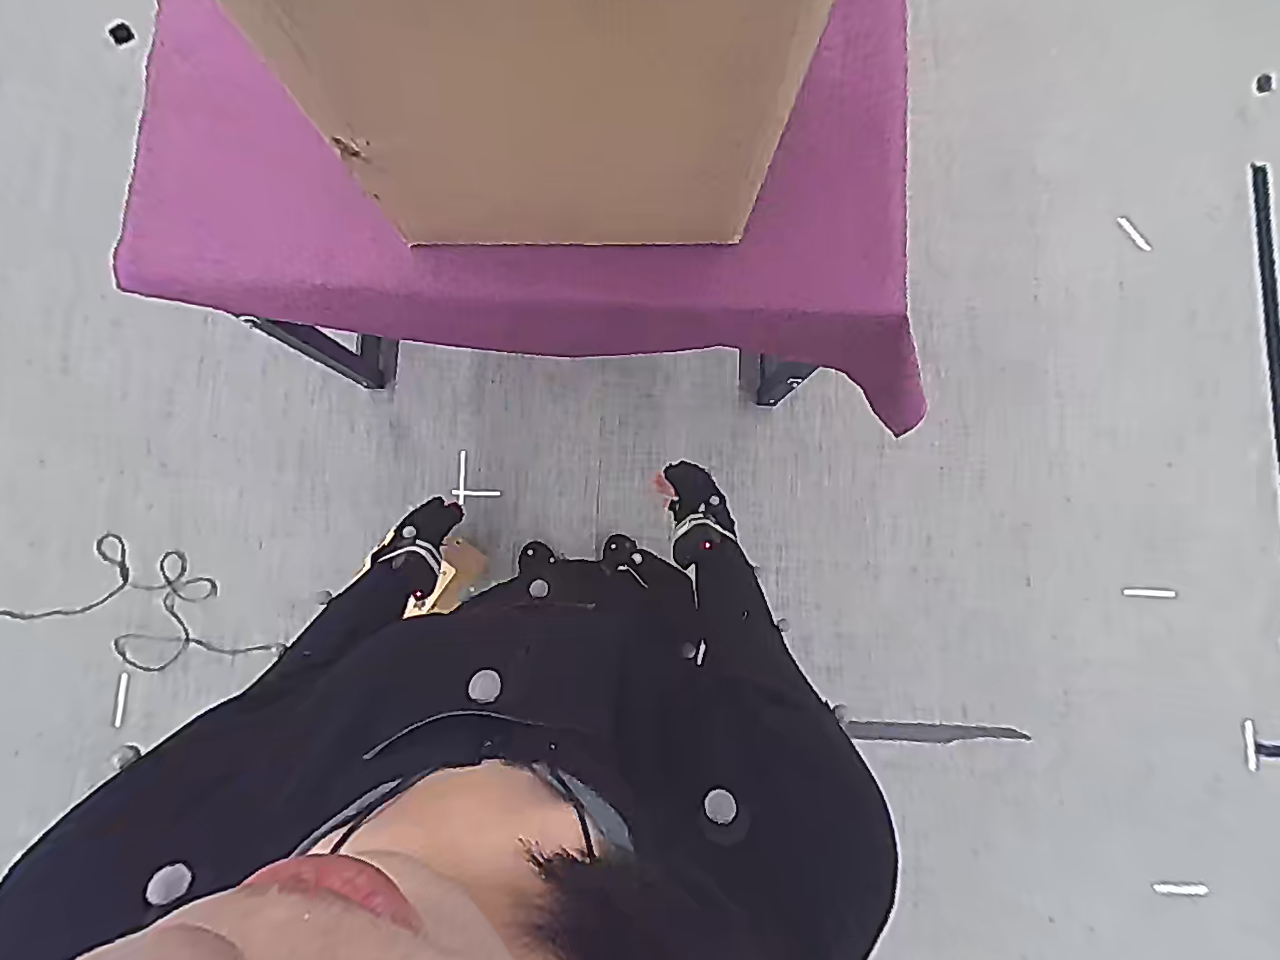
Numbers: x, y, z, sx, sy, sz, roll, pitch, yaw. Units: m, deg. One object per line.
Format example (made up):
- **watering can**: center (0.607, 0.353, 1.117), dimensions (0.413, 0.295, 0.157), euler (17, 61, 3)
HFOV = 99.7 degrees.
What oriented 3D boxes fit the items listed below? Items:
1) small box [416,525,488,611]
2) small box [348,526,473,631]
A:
- **small box**: center (-0.531, 0.236, 1.420), dimensions (0.179, 0.176, 0.168), euler (33, 85, 1)
- **small box**: center (-0.522, 0.224, 1.257), dimensions (0.179, 0.176, 0.168), euler (35, 85, 2)
